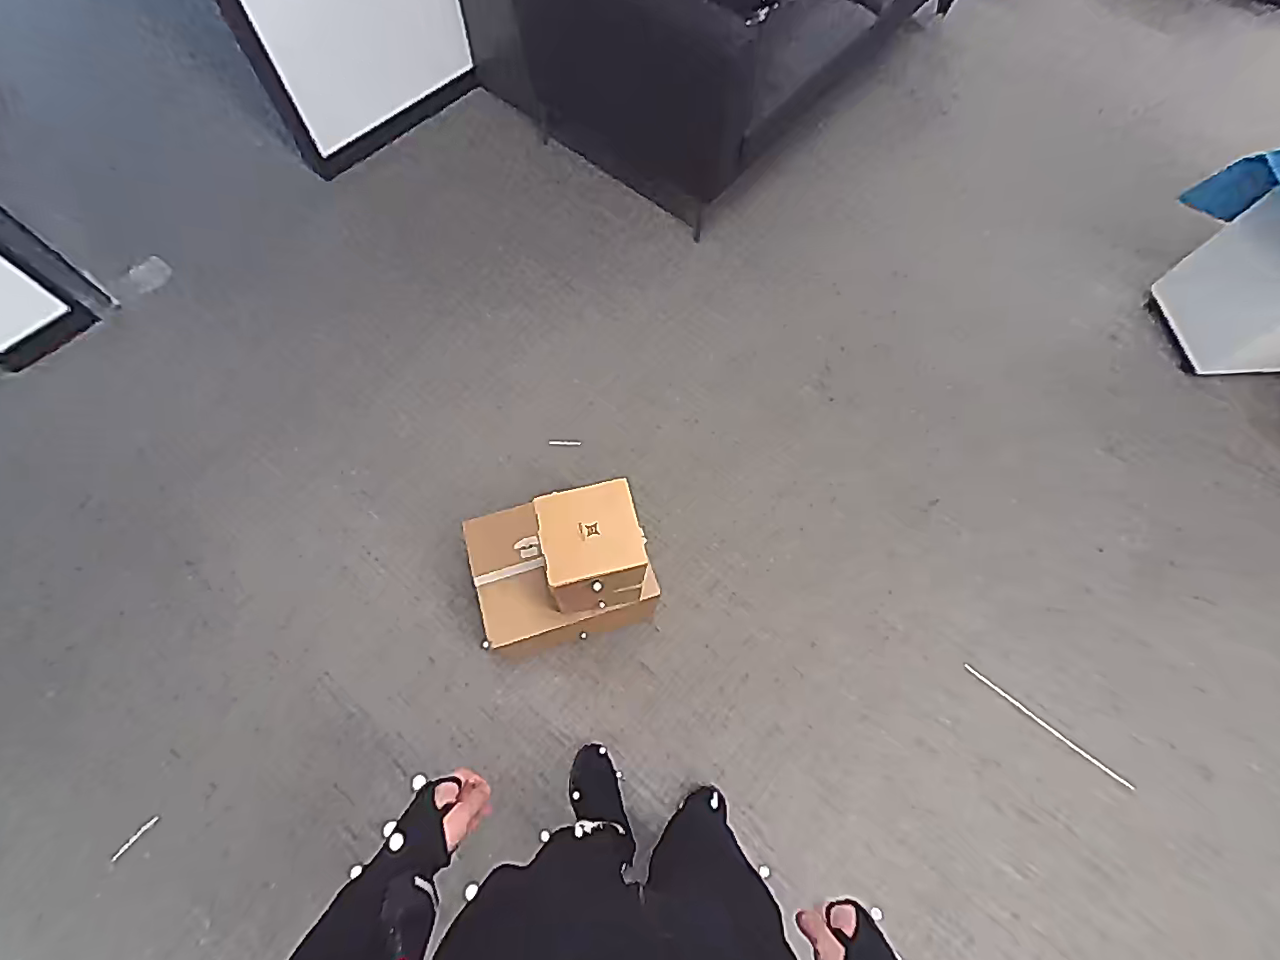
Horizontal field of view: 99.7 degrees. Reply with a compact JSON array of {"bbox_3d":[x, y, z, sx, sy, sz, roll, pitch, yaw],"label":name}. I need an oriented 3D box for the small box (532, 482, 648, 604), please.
[{"bbox_3d":[-0.092,0.123,1.010,0.179,0.176,0.168,-13,69,-7],"label":"small box"}]

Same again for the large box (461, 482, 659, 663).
[{"bbox_3d":[-0.194,0.249,1.396,0.408,0.320,0.320,-17,68,-9],"label":"large box"}]
